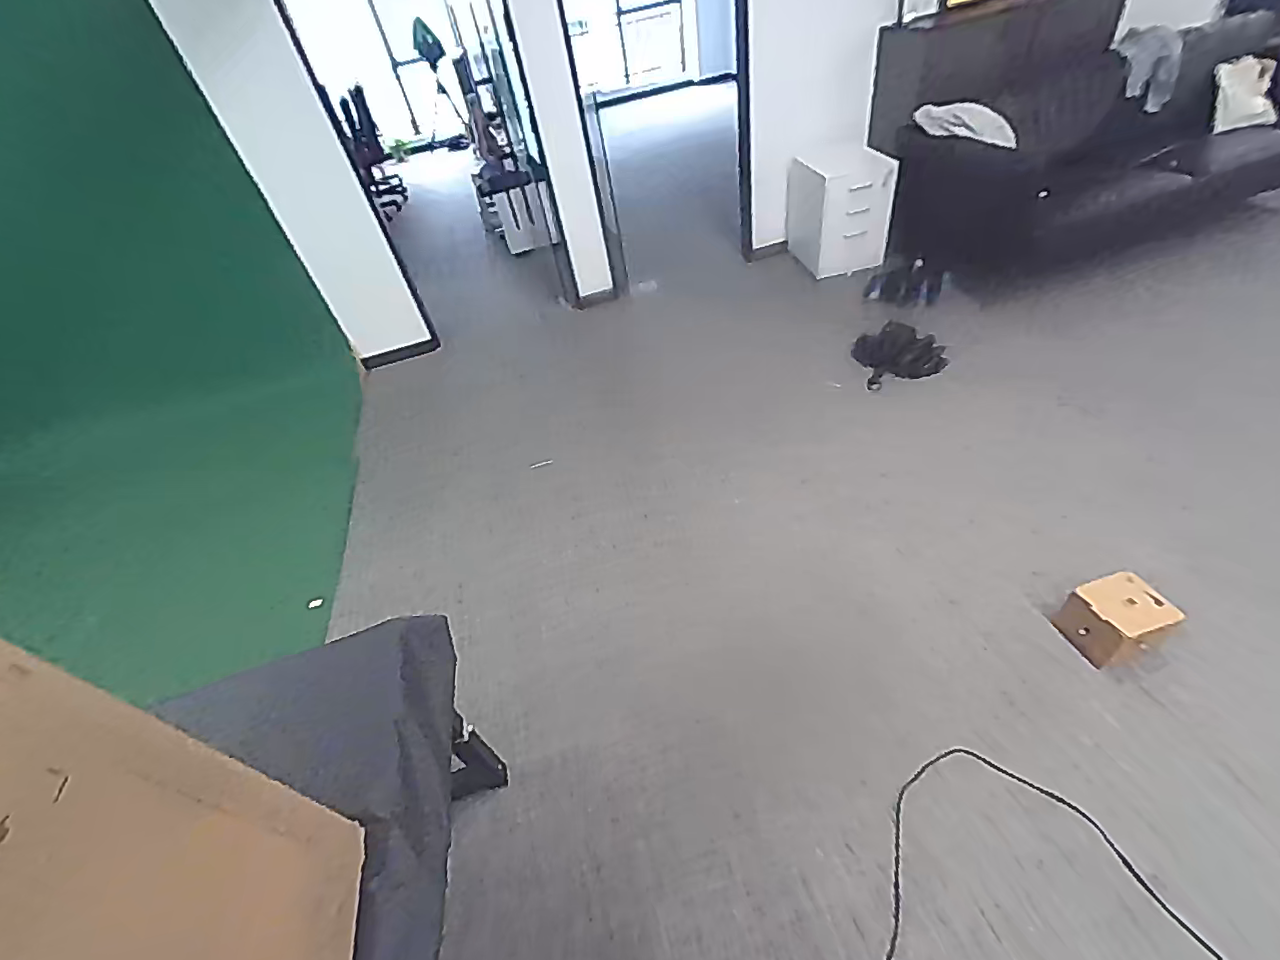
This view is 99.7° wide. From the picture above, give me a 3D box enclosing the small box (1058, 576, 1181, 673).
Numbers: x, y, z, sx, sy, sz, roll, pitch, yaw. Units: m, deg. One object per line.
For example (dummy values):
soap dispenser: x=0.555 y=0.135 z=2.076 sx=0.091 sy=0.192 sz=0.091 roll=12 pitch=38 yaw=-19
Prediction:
small box: x=1.294 y=0.399 z=1.481 sx=0.179 sy=0.176 sz=0.168 roll=-18 pitch=41 yaw=-5
